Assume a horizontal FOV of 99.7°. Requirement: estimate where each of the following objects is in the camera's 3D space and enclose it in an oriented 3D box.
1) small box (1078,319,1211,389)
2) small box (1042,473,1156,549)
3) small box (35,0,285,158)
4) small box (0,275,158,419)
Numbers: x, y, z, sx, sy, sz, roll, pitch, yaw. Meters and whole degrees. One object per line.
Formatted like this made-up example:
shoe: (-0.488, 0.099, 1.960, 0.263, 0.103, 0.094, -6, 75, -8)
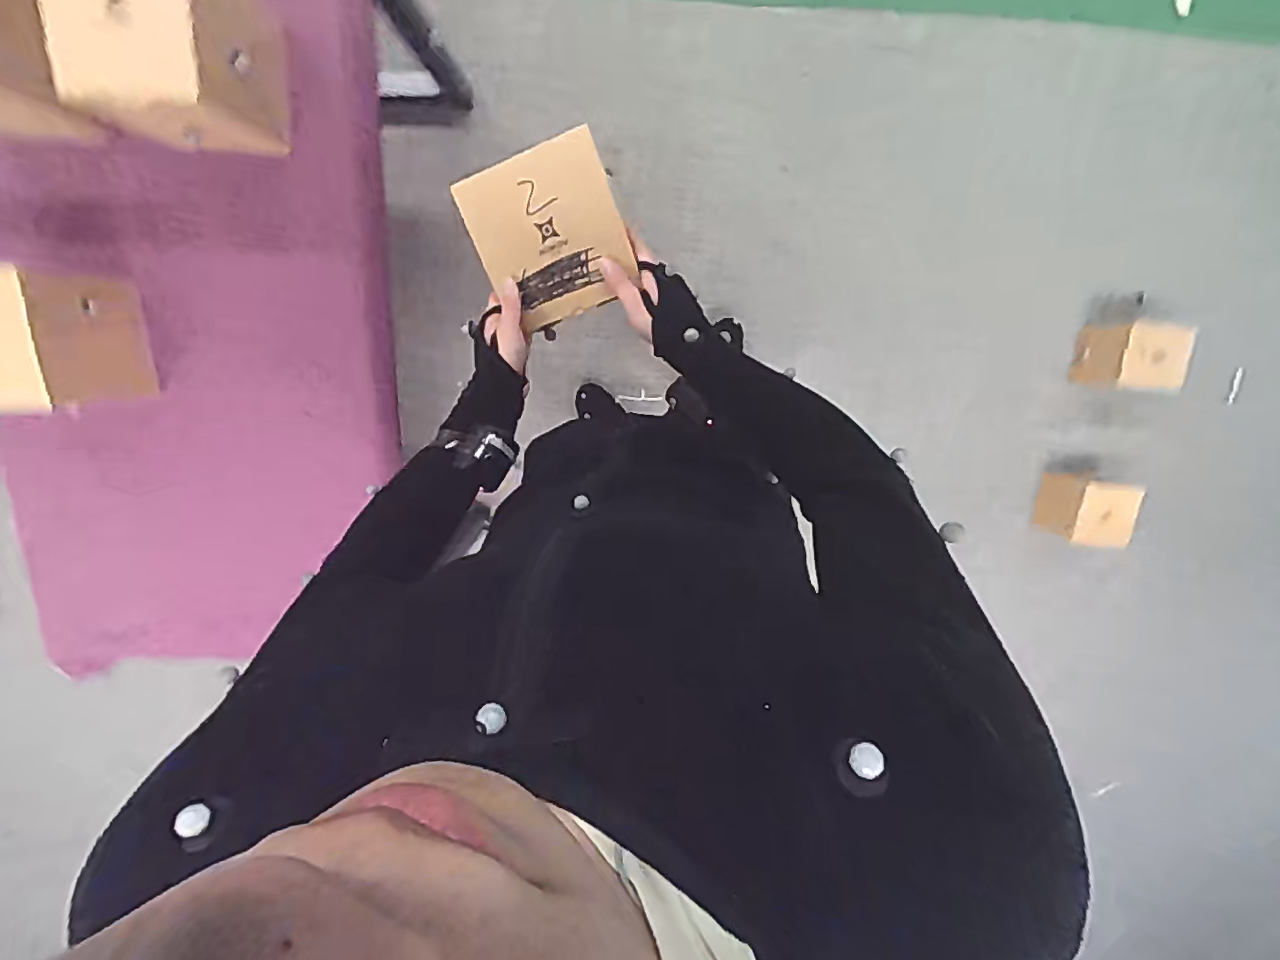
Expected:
small box: (1.347, -0.339, 1.456, 0.179, 0.176, 0.168, 4, 103, -1)
small box: (1.308, 0.082, 1.555, 0.168, 0.176, 0.179, 4, 104, -1)
small box: (-0.574, -0.521, 0.669, 0.168, 0.176, 0.179, 3, 104, 0)
small box: (-0.832, -0.180, 0.750, 0.168, 0.176, 0.179, 0, 103, 0)
